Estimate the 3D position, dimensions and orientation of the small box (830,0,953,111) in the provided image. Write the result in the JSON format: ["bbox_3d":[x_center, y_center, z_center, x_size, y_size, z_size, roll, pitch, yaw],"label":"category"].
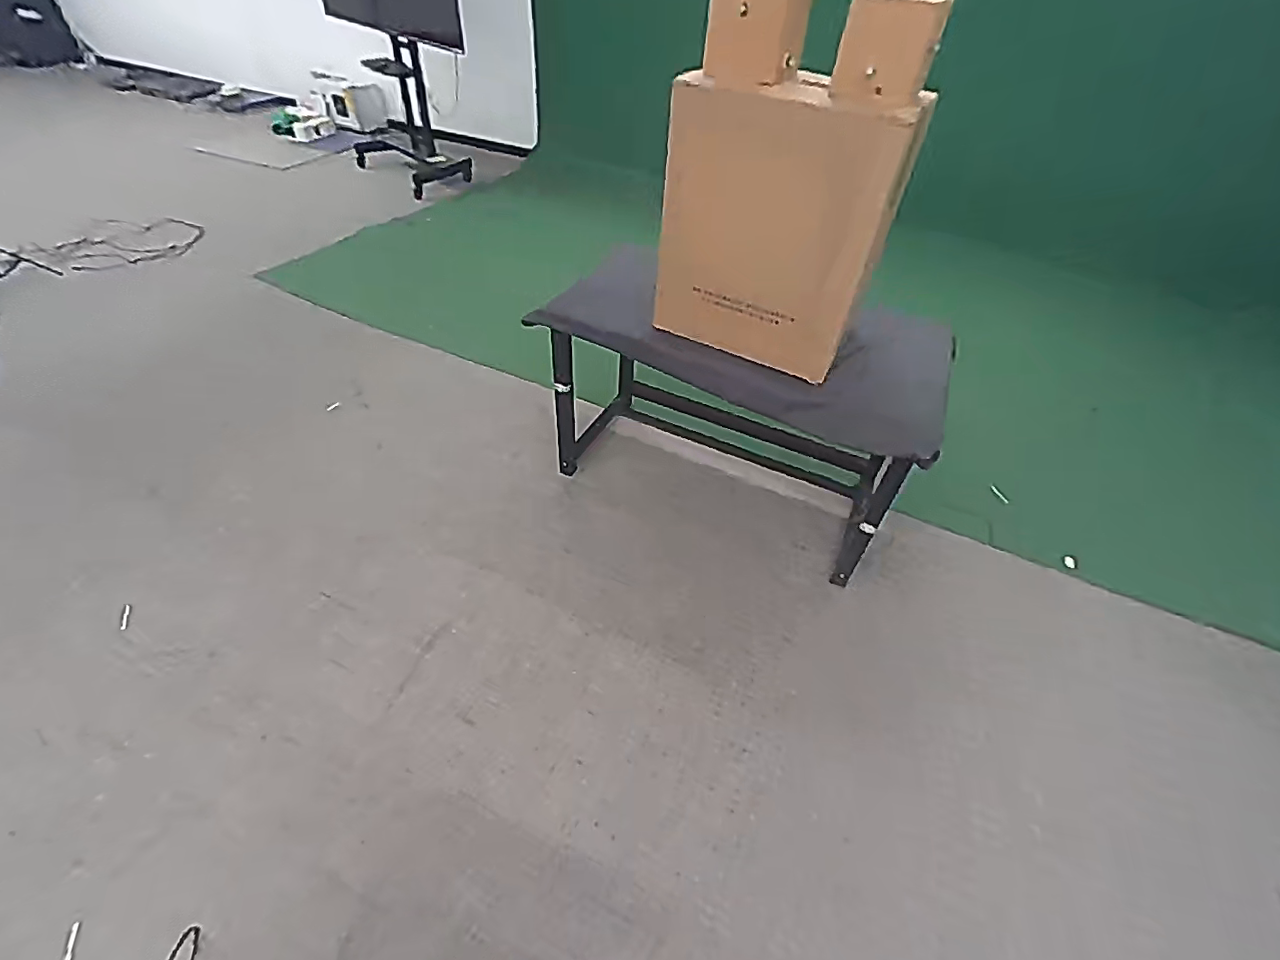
[{"bbox_3d":[0.519,-0.901,1.130,0.168,0.176,0.179,26,51,17],"label":"small box"}]

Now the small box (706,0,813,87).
[{"bbox_3d":[0.263,-1.004,1.212,0.179,0.176,0.168,26,52,18],"label":"small box"}]
